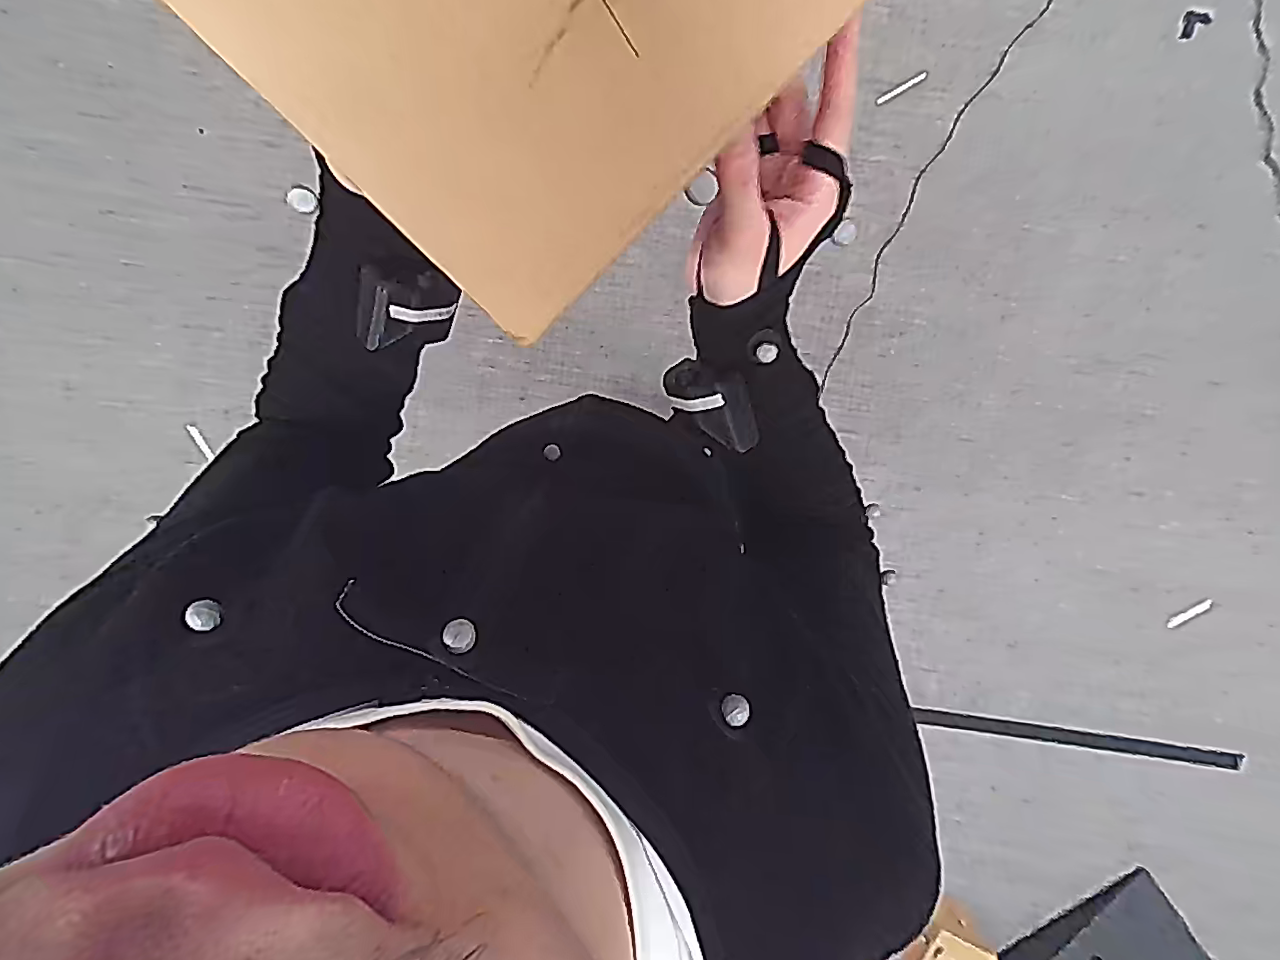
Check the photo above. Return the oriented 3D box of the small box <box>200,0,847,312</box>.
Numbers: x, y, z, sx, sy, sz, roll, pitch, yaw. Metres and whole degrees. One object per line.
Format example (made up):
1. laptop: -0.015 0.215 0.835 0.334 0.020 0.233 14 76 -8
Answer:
1. small box: -0.032 -0.192 0.186 0.168 0.176 0.179 -39 111 22
